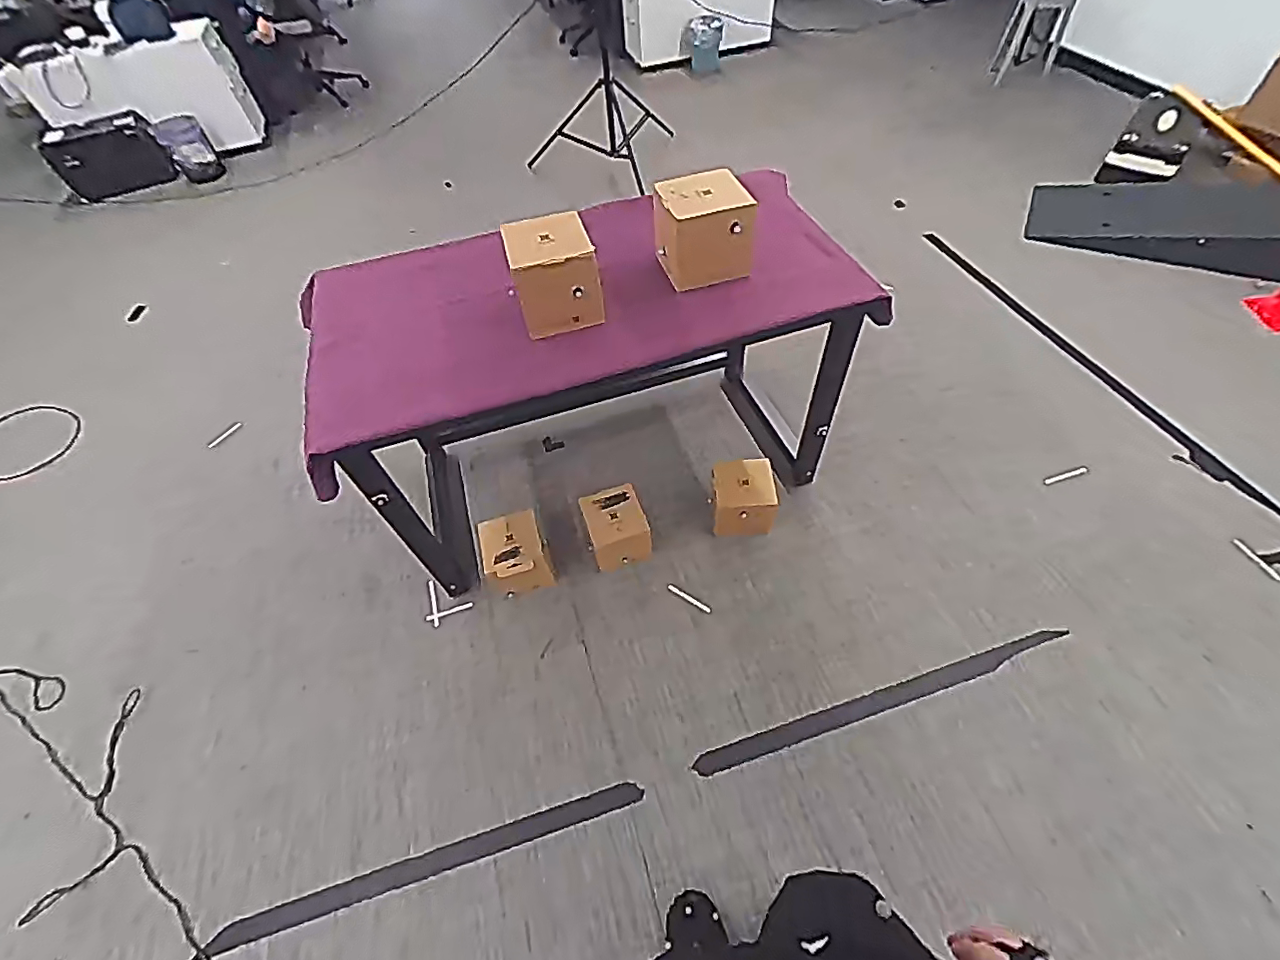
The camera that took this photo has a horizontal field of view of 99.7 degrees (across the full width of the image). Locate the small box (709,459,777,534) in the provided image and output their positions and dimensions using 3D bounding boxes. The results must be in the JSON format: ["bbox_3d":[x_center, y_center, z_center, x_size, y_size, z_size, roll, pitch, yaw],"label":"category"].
[{"bbox_3d":[0.308,0.054,1.652,0.179,0.176,0.168,-4,55,3],"label":"small box"}]

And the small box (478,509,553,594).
[{"bbox_3d":[-0.361,0.218,1.584,0.168,0.176,0.179,-16,54,-7],"label":"small box"}]

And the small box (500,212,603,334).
[{"bbox_3d":[-0.182,-0.426,1.134,0.168,0.176,0.179,-15,53,-8],"label":"small box"}]

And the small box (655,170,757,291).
[{"bbox_3d":[0.139,-0.548,1.195,0.179,0.176,0.168,-16,54,-6],"label":"small box"}]
